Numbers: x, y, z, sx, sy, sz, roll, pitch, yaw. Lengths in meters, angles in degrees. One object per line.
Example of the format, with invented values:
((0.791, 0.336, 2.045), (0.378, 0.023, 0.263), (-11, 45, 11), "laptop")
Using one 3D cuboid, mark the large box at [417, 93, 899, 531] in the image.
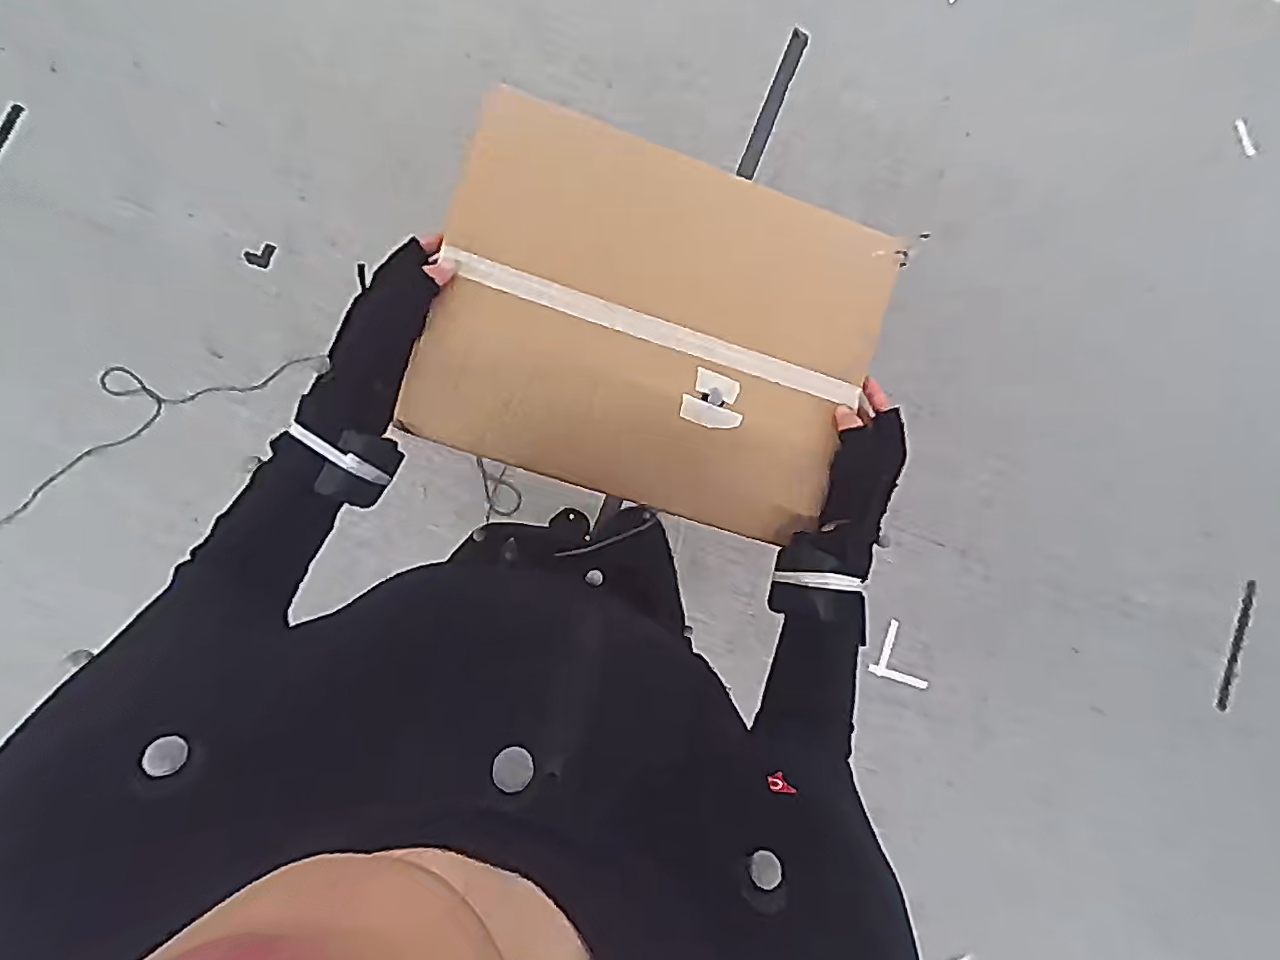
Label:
((0.007, -0.158, 0.657), (0.408, 0.320, 0.320), (17, 93, -8), "large box")
